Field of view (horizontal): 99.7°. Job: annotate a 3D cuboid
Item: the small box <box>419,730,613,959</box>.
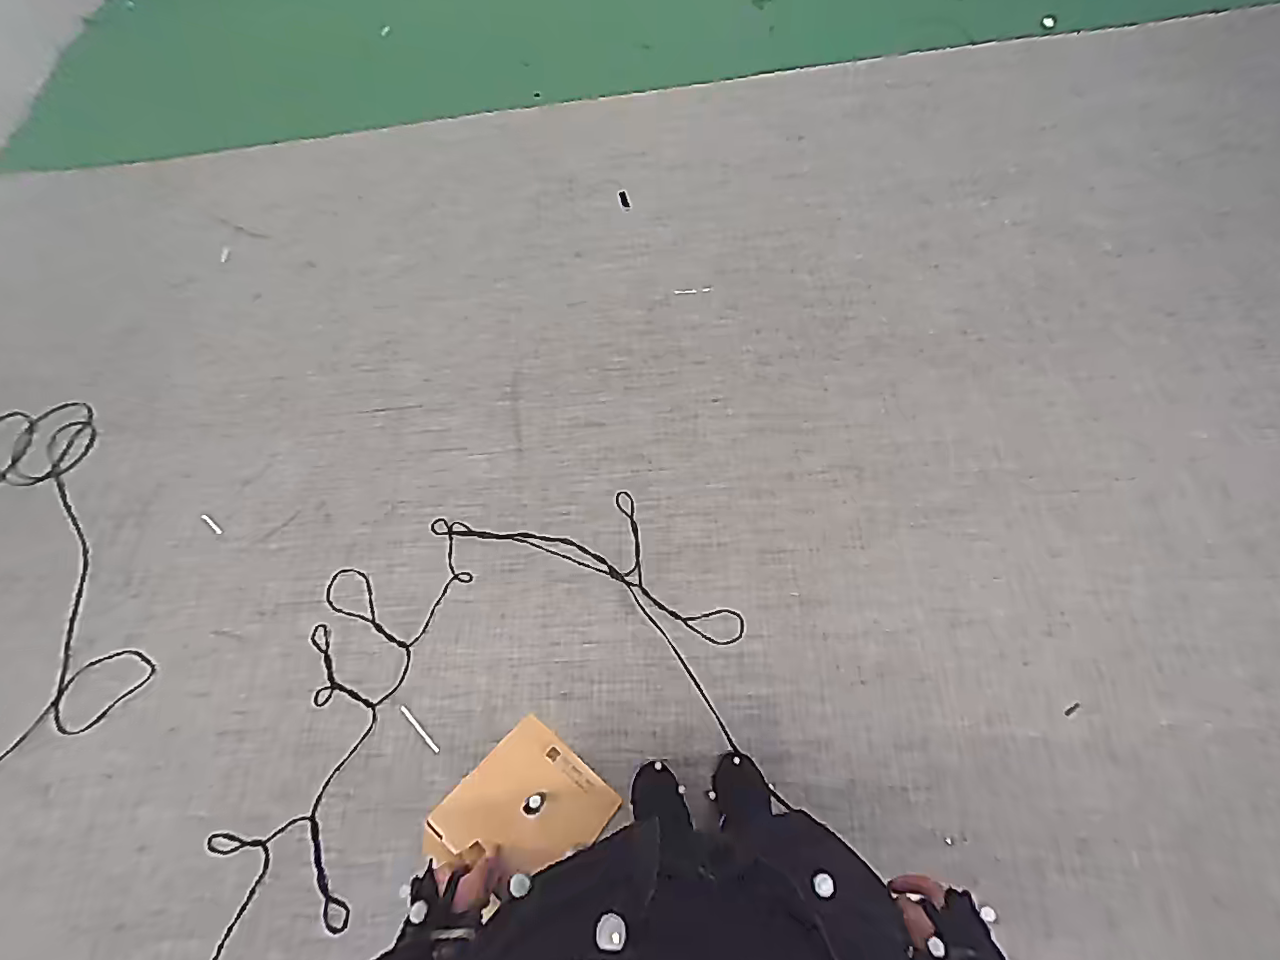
[{"bbox_3d":[-0.157,0.462,0.693,0.168,0.179,0.176,36,42,16],"label":"small box"}]
